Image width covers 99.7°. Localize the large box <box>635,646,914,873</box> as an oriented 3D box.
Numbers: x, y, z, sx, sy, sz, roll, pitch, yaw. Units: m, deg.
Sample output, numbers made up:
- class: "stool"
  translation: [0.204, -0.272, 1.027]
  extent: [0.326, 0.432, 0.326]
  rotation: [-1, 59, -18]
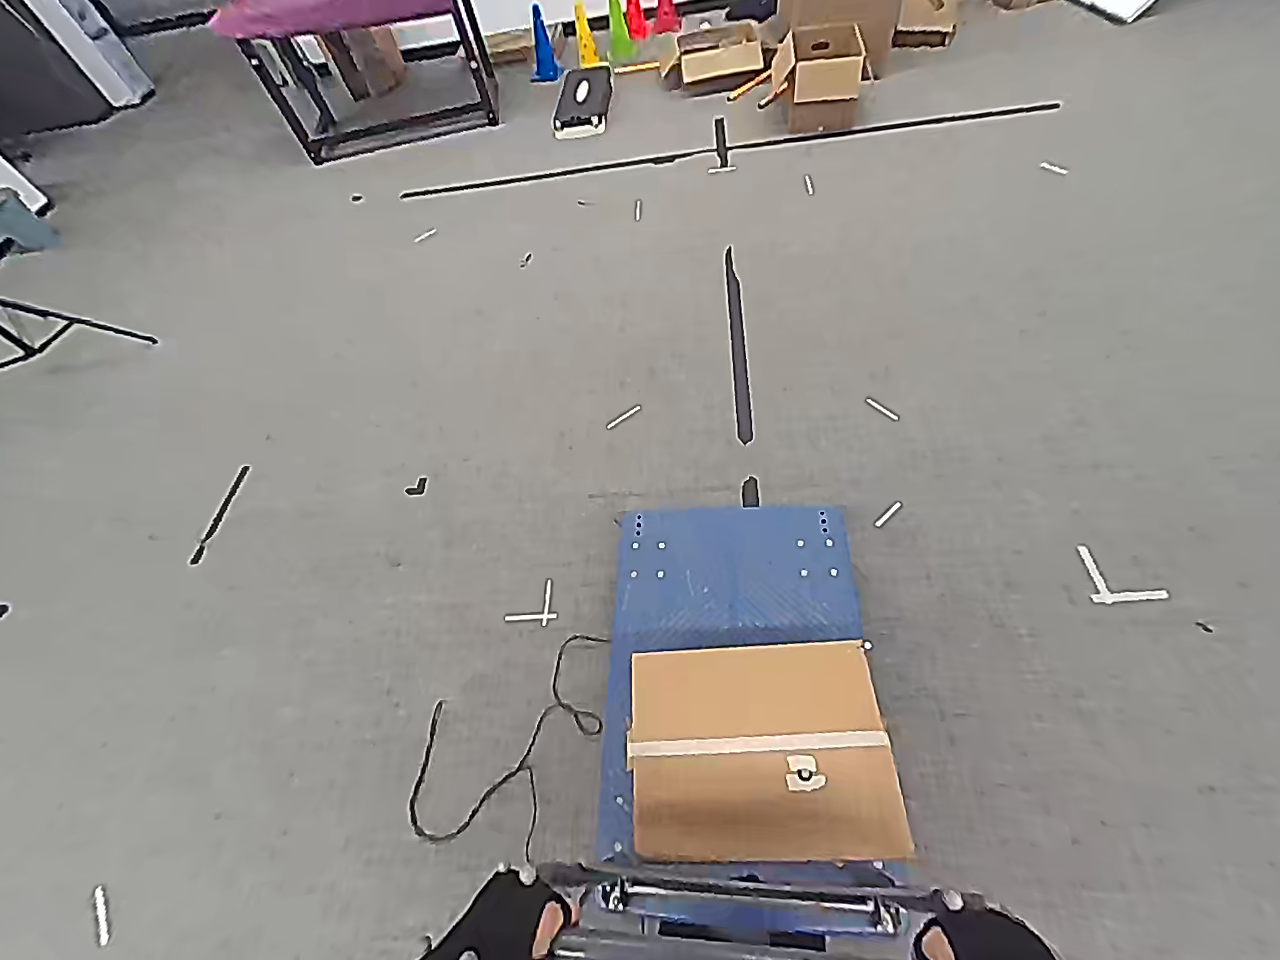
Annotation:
- class: "large box"
  translation: [0.209, 0.518, 0.993]
  extent: [0.408, 0.320, 0.320]
  rotation: [-5, 56, 5]
